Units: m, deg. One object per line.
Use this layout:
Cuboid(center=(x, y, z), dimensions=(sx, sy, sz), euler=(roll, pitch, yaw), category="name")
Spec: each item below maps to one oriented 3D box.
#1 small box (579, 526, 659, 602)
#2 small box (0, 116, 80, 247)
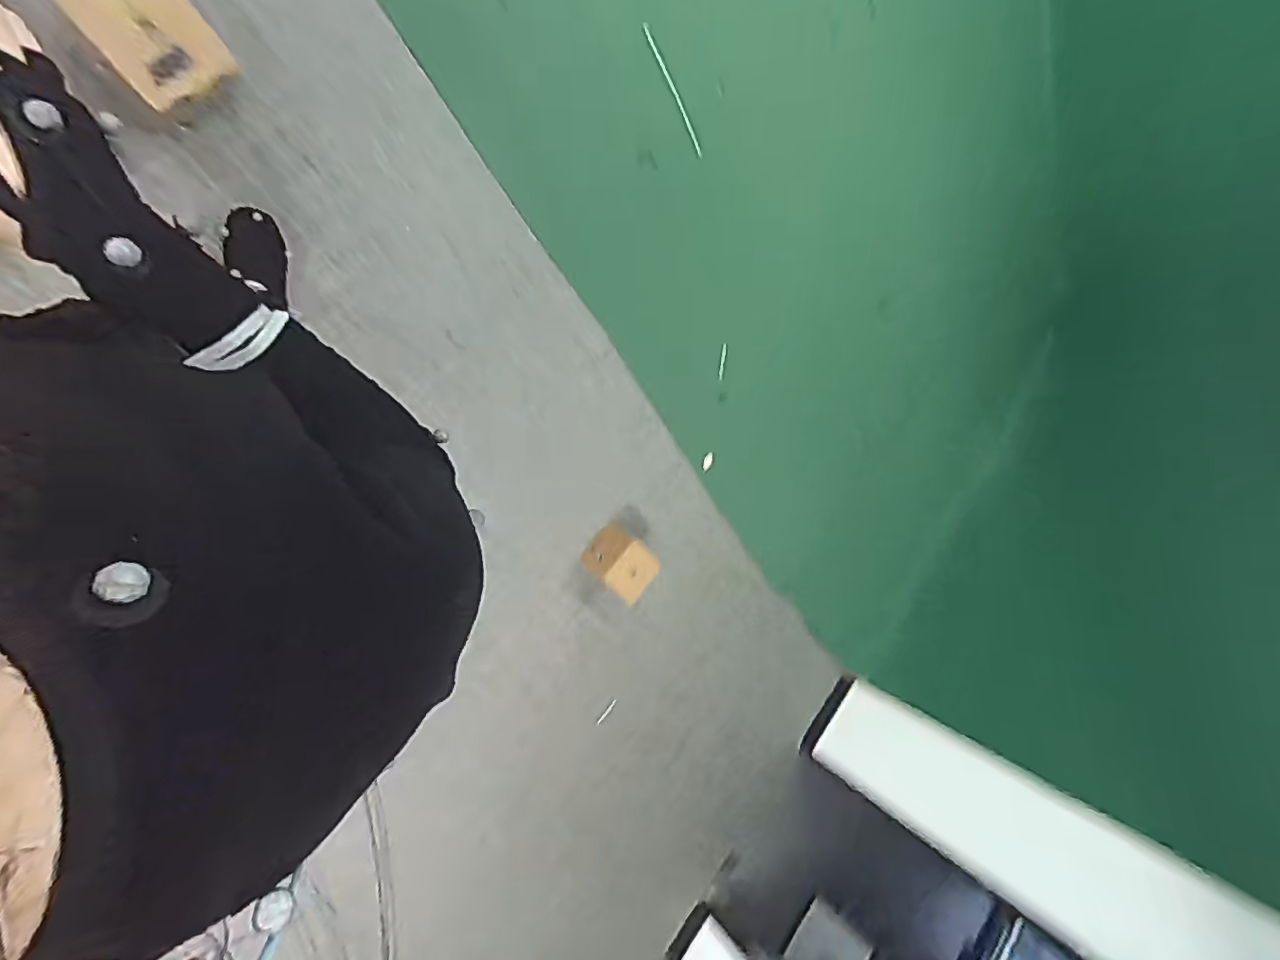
Cuboid(center=(-0.076, 0.276, 1.830), dimensions=(0.168, 0.176, 0.179), euler=(-49, 127, -13), category="small box")
Cuboid(center=(-1.063, -0.498, 0.864), dimensions=(0.179, 0.176, 0.168), euler=(-51, 127, -14), category="small box")
